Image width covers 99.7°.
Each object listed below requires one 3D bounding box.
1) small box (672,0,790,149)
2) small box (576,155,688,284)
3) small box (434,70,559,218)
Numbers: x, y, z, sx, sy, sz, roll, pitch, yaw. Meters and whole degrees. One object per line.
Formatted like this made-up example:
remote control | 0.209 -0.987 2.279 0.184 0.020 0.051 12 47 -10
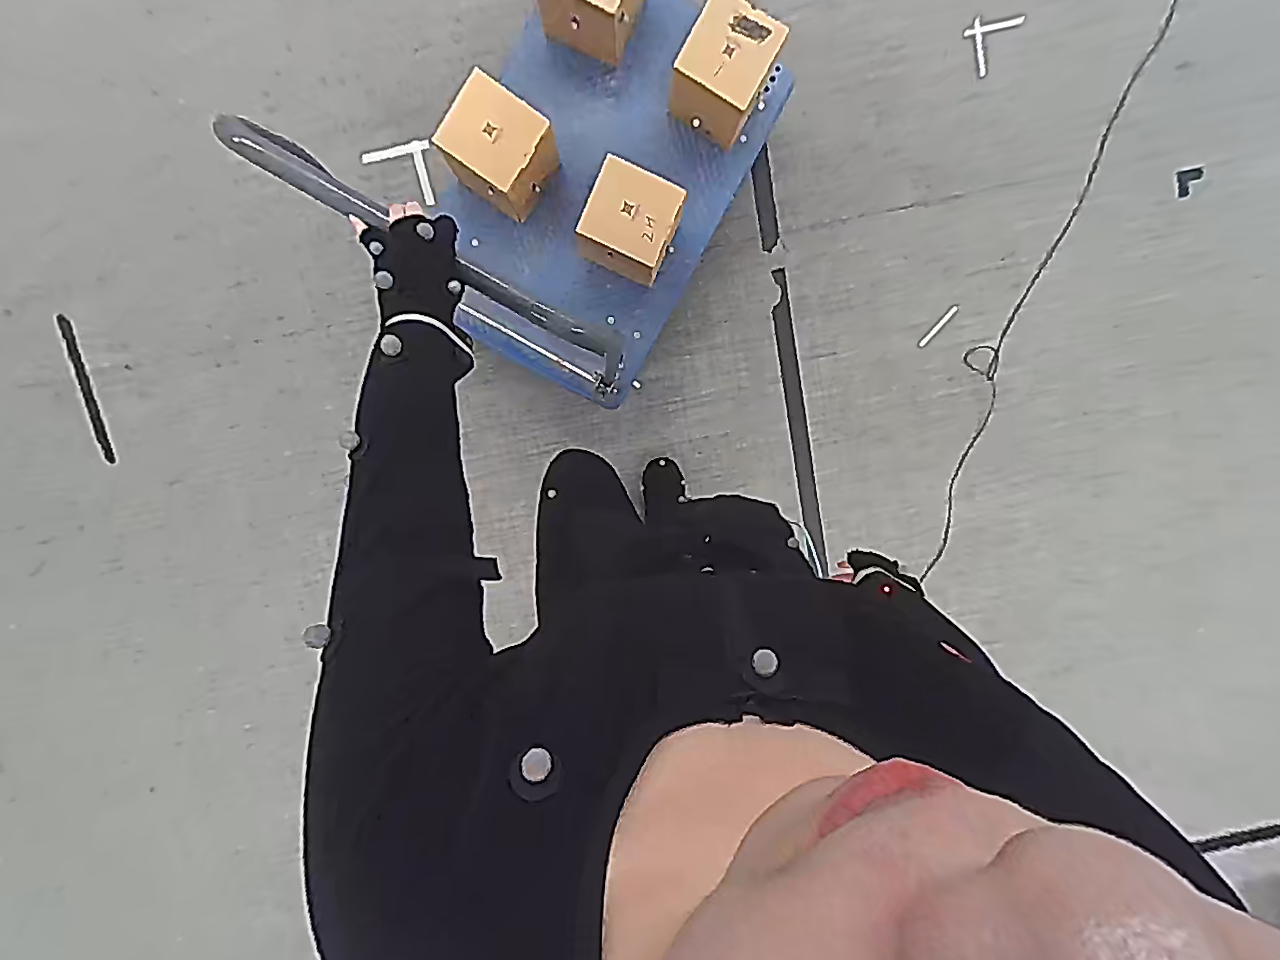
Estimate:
small box | 0.178 -0.844 1.125 0.168 0.176 0.179 30 96 -5
small box | -0.018 -0.542 1.154 0.179 0.176 0.168 24 96 -4
small box | -0.289 -0.686 1.130 0.179 0.176 0.168 33 94 -6
